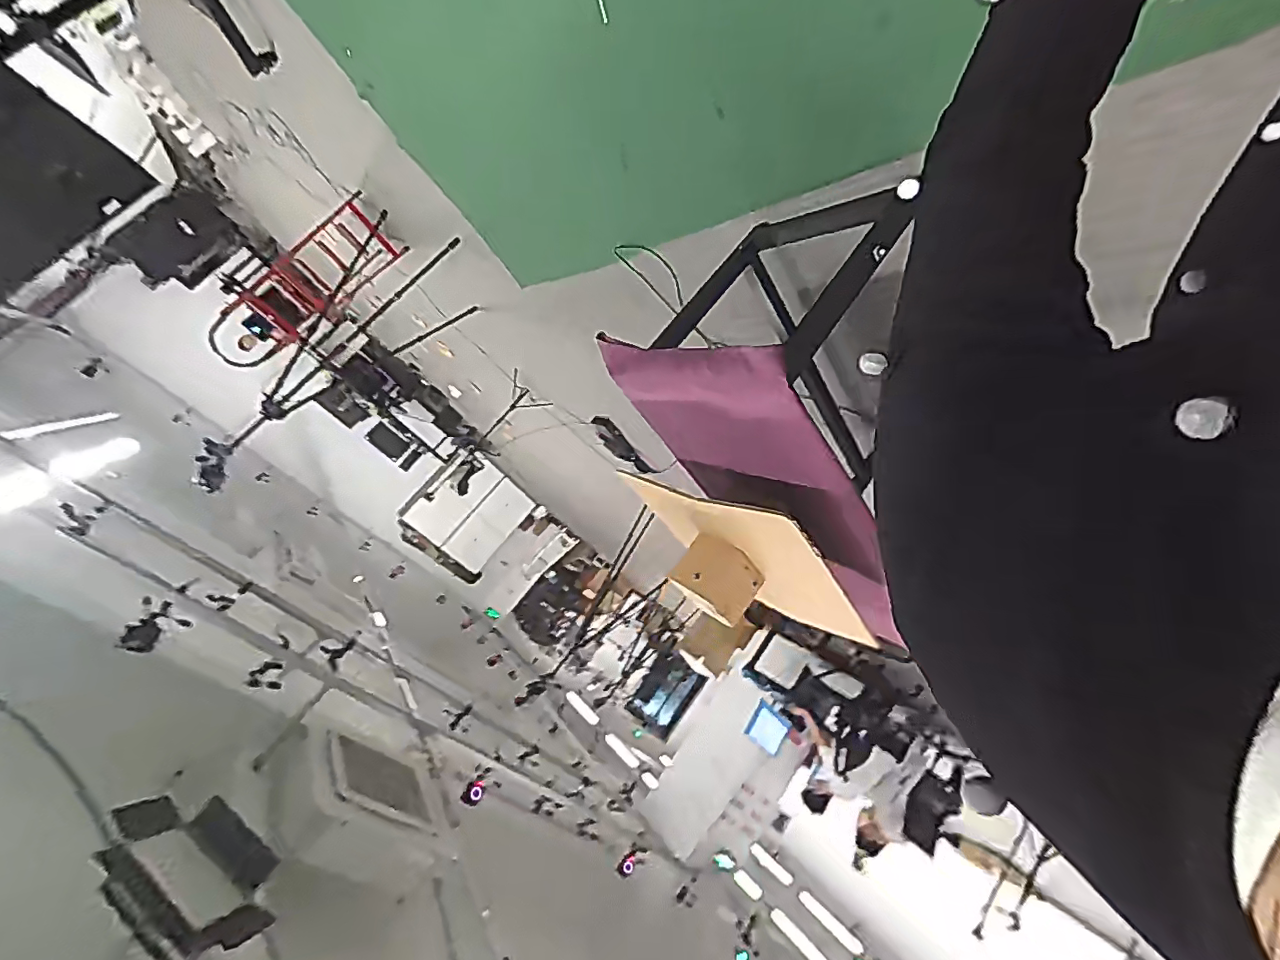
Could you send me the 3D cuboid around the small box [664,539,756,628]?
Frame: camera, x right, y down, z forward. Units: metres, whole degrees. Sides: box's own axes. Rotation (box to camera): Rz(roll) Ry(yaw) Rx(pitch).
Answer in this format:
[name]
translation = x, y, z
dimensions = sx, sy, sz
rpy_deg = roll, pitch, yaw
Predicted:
[small box]
translation = 0.209, 0.291, 1.555
dimensions = 0.168, 0.176, 0.179
rpy_deg = 48, 162, -31
